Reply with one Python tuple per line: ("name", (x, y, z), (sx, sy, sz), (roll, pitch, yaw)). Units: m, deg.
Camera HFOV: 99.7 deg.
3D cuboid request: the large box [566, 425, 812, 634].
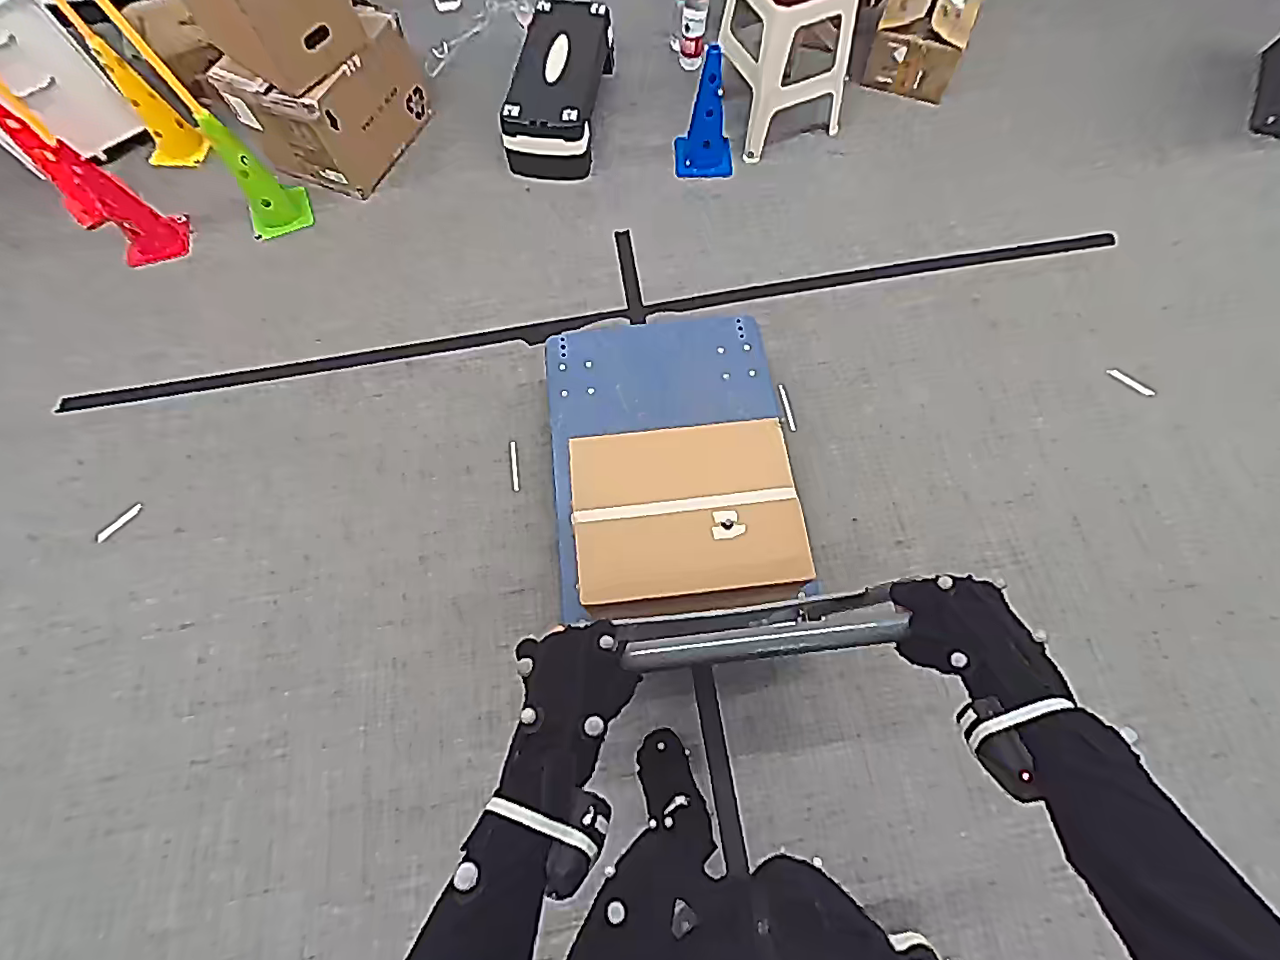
("large box", (0.076, 0.115, 1.097), (0.408, 0.320, 0.320), (-6, 69, -3))
